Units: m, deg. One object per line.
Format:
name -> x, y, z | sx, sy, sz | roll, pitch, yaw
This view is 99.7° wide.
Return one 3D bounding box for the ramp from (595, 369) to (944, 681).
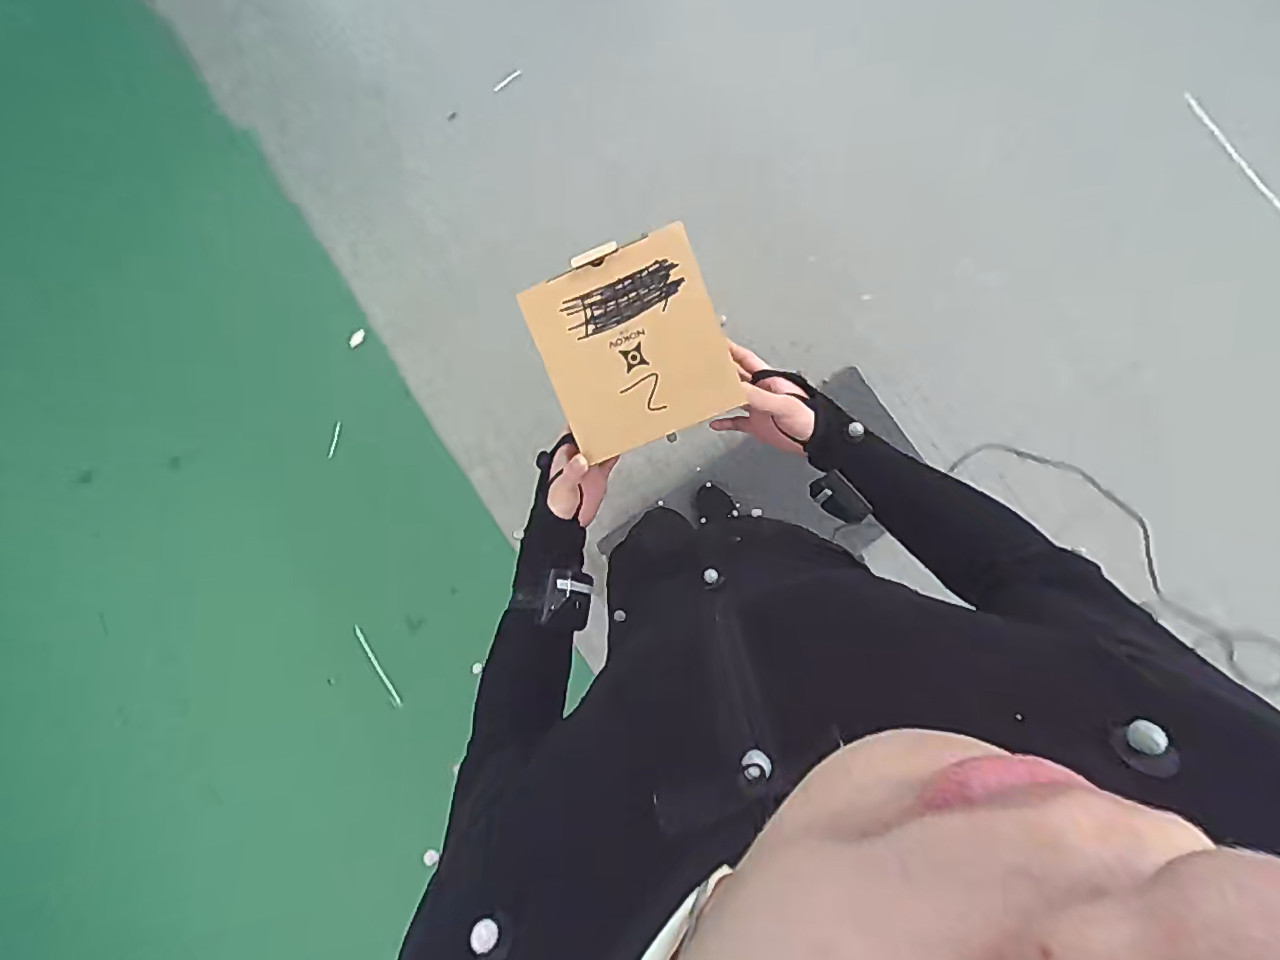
ramp -> 0.403, 0.116, 1.654 | 0.991, 0.206, 0.509 | -37, 84, 5
